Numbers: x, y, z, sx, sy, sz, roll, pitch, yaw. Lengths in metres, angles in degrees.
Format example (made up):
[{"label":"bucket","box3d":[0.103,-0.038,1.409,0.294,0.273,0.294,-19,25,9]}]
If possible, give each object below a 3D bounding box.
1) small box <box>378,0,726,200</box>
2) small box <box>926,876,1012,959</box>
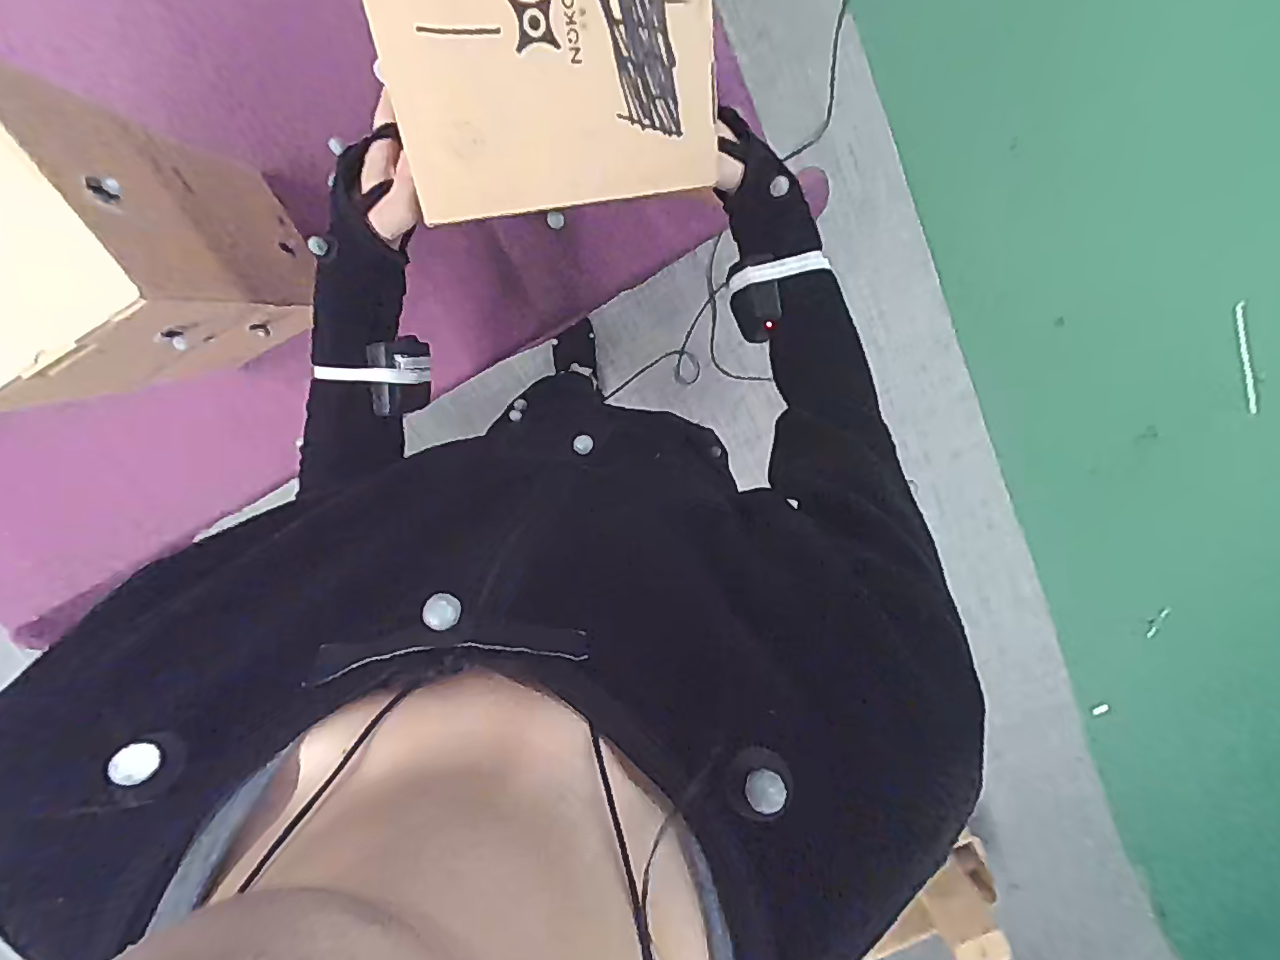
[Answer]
[{"label":"small box","box3d":[-0.058,-0.279,0.337,0.179,0.176,0.168,-11,120,-8]},{"label":"small box","box3d":[1.099,1.487,1.816,0.168,0.176,0.179,-25,108,2]}]
